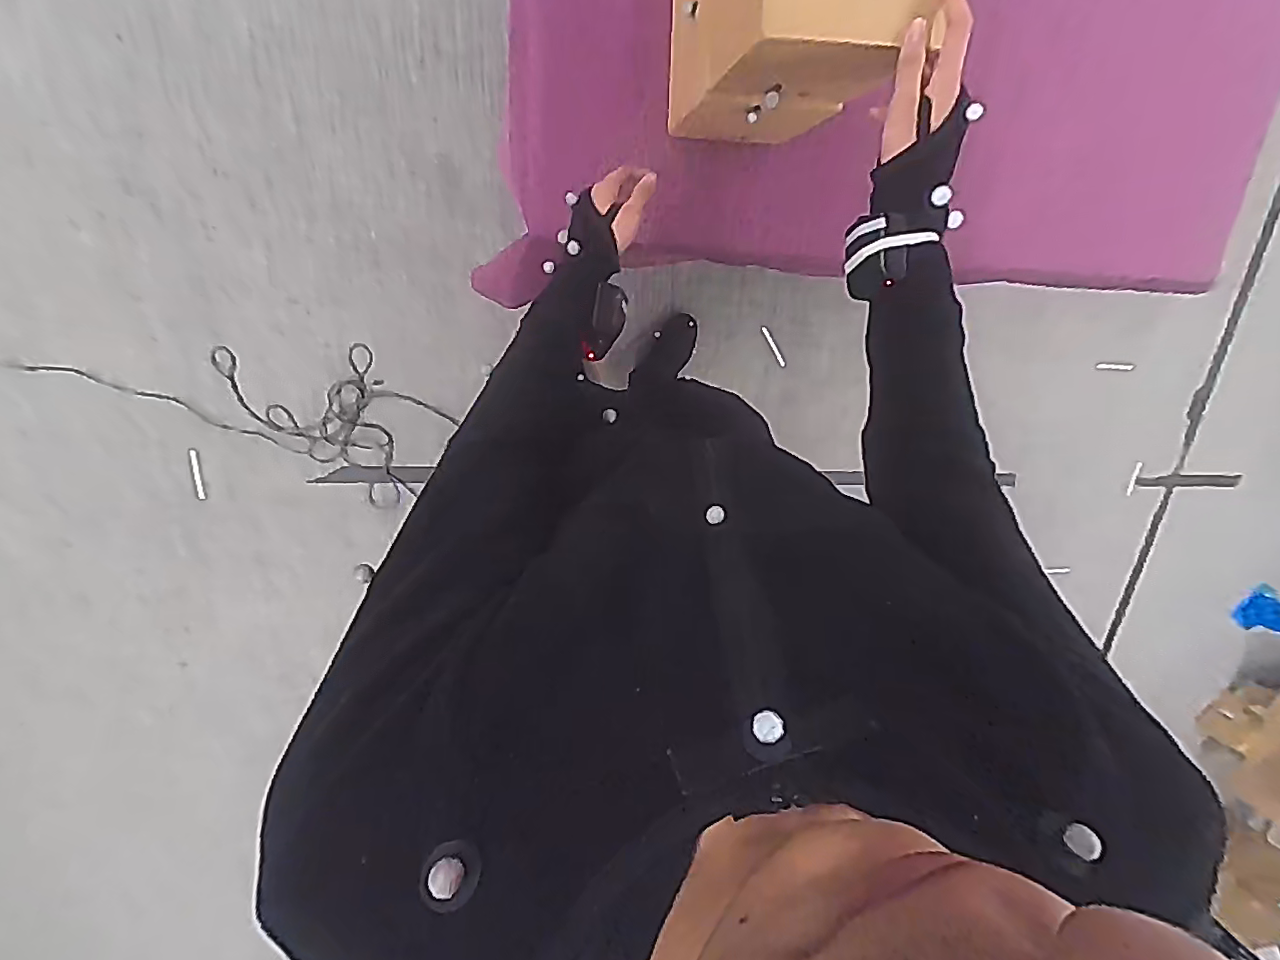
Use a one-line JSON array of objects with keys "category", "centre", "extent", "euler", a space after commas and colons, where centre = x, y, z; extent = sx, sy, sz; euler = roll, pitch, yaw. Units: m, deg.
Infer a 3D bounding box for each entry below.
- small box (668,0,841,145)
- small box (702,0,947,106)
[{"category": "small box", "centre": [0.133, -0.524, 0.642], "extent": [0.168, 0.176, 0.179], "euler": [-2, 110, -11]}, {"category": "small box", "centre": [0.160, -0.470, 0.490], "extent": [0.168, 0.176, 0.179], "euler": [-4, 112, -10]}]
